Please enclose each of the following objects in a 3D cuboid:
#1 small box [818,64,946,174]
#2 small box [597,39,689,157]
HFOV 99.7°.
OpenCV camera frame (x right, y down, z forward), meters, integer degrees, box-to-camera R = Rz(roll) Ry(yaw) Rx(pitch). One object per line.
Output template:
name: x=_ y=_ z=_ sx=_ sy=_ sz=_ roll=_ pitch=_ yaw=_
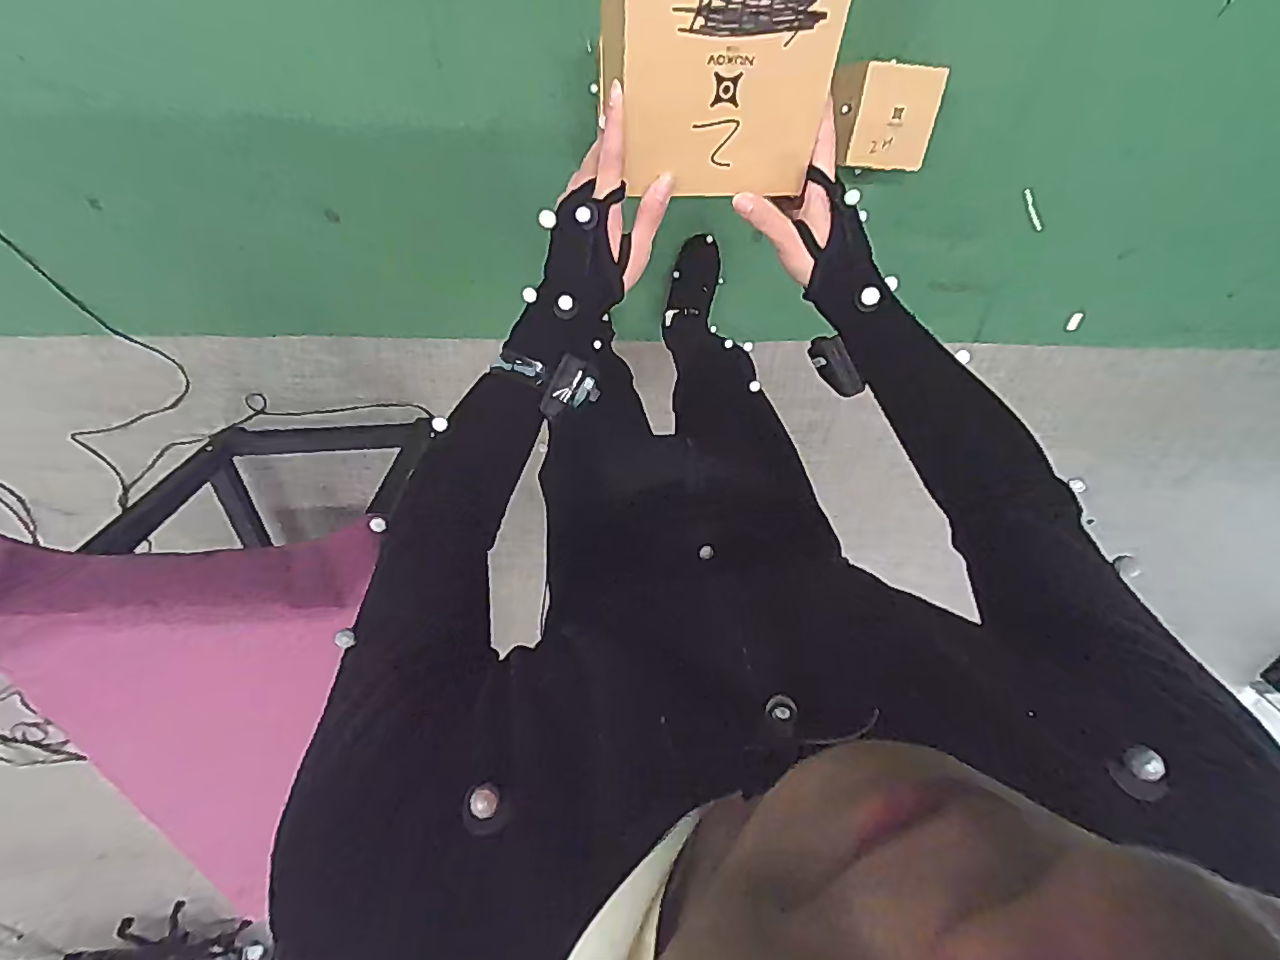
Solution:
small box: x=0.499 y=-0.759 z=1.148 sx=0.168 sy=0.176 sz=0.179 roll=0 pitch=123 yaw=-7
small box: x=0.000 y=-0.762 z=1.093 sx=0.168 sy=0.176 sz=0.179 roll=0 pitch=122 yaw=-6
